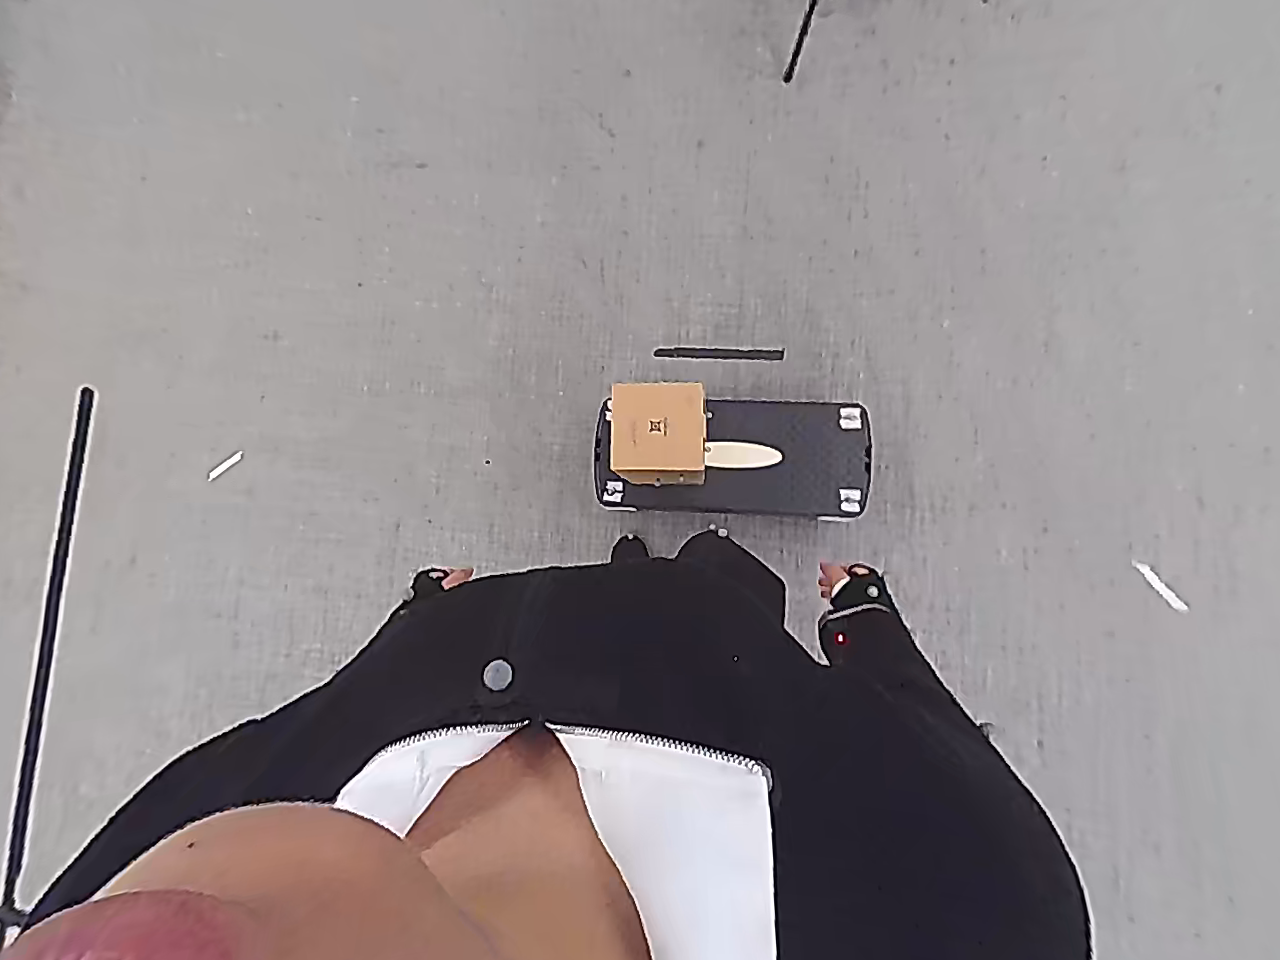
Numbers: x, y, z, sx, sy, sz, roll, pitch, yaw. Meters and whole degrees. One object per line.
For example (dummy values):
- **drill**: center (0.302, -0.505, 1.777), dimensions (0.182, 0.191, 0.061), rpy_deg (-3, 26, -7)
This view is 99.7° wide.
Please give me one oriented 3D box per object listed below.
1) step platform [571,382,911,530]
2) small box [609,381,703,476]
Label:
- **step platform**: center (0.205, -0.047, 1.191), dimensions (0.684, 0.204, 0.286), rpy_deg (3, 85, 6)
- **small box**: center (0.036, -0.098, 1.084), dimensions (0.179, 0.176, 0.168), rpy_deg (0, 85, 6)
